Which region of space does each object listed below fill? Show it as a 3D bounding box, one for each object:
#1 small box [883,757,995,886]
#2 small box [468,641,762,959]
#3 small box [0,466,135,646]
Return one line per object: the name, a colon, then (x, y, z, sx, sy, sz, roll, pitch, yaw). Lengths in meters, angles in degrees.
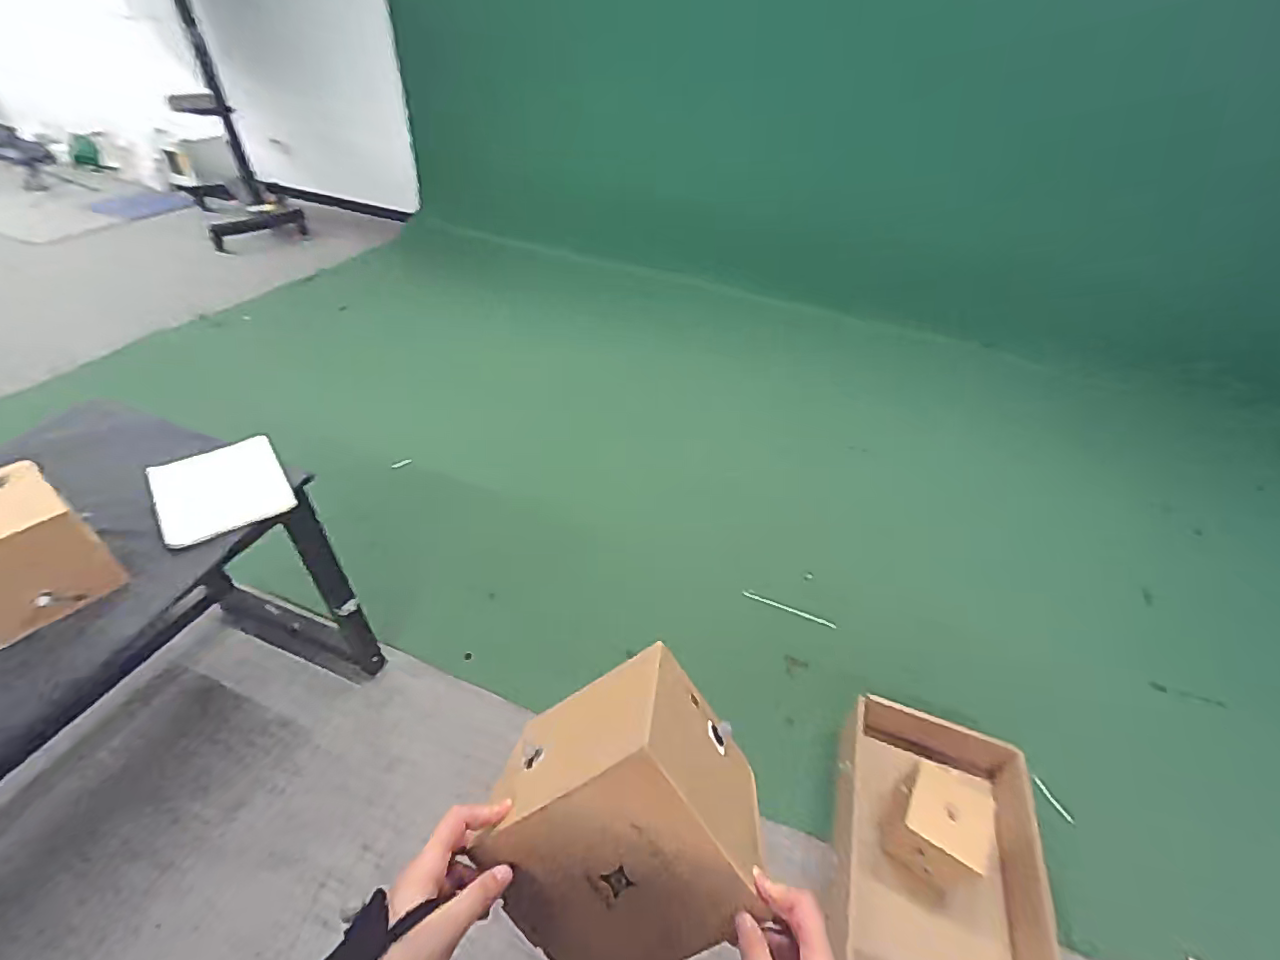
small box: (0.690, 0.799, 1.262, 0.168, 0.176, 0.179, 27, 46, 21)
small box: (-0.014, 0.285, 0.494, 0.179, 0.168, 0.176, -36, 6, 9)
small box: (-0.931, 0.114, 0.817, 0.179, 0.176, 0.168, 29, 47, 24)
